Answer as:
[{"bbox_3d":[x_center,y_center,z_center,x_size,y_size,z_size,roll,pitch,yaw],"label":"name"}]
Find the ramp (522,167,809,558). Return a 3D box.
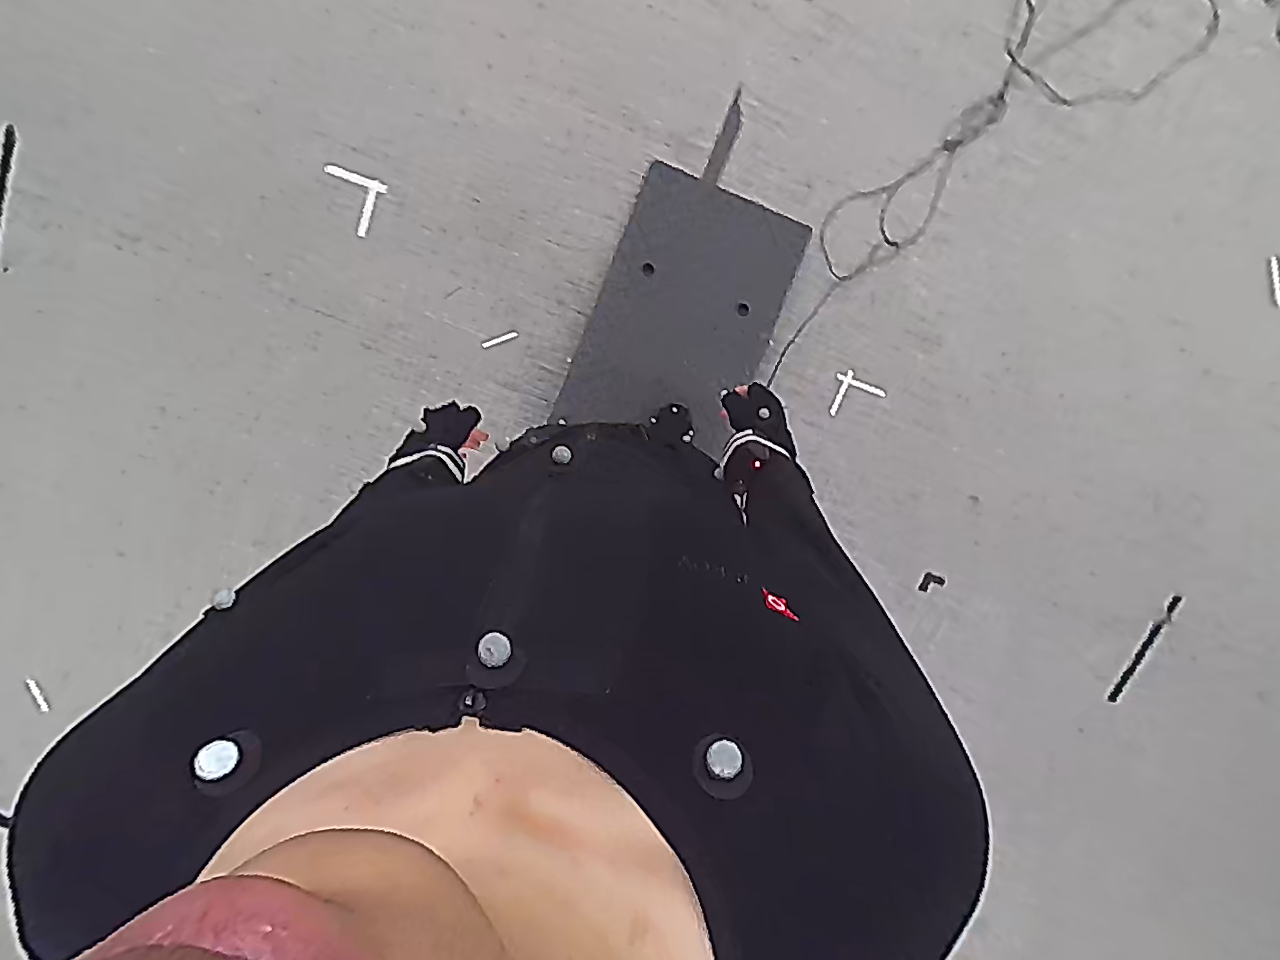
[{"bbox_3d":[0.075,-0.328,1.505,0.509,0.206,0.991,20,99,-2],"label":"ramp"}]
